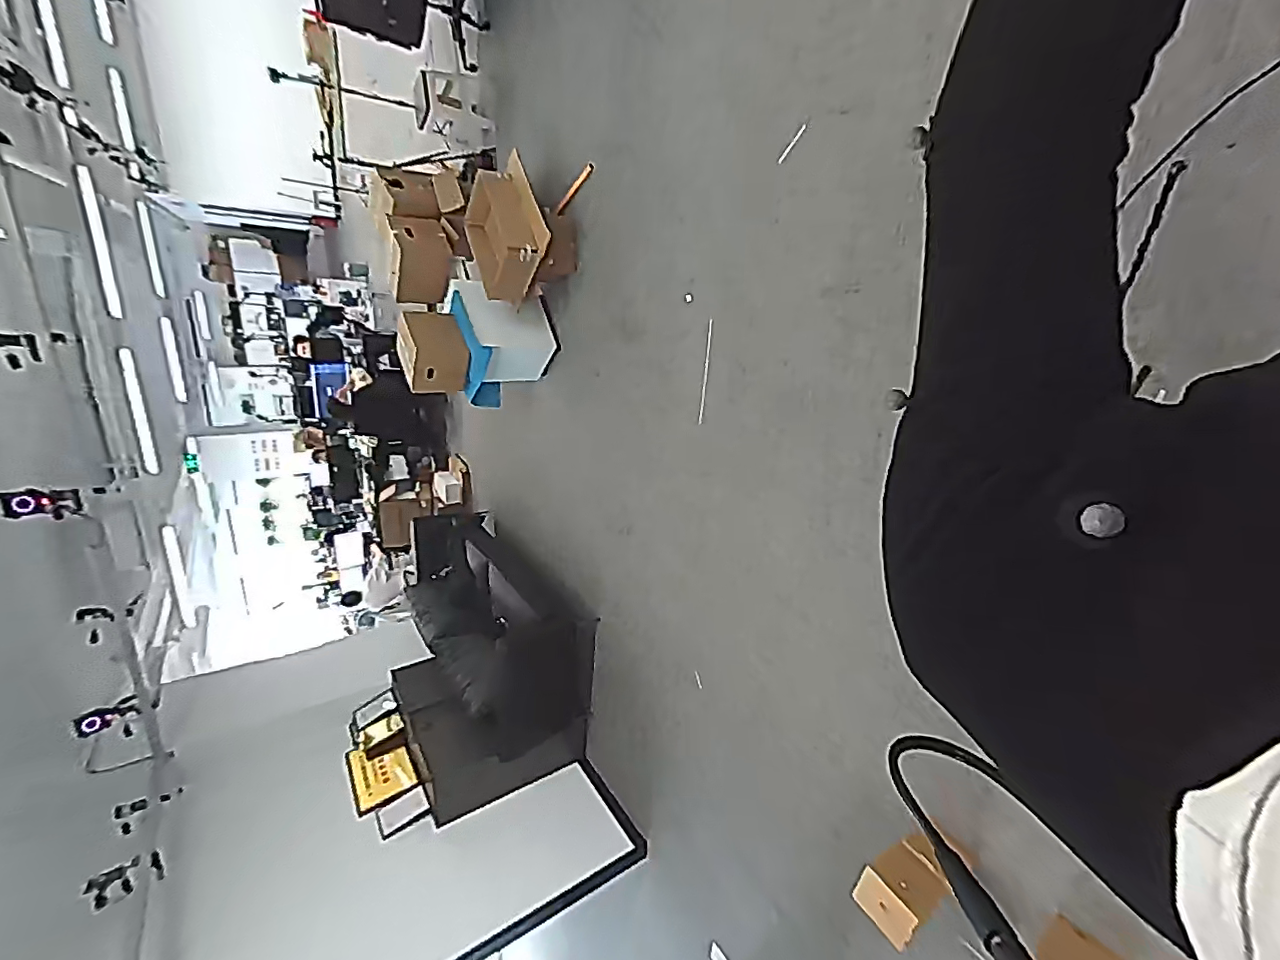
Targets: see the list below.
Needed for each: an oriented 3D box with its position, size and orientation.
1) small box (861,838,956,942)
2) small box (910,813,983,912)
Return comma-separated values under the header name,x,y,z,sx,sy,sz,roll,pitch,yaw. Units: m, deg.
name,x,y,z,sx,sy,sz,roll,pitch,yaw
small box,0.829,1.255,1.673,0.179,0.176,0.168,37,128,46
small box,0.970,1.230,1.751,0.168,0.176,0.179,40,129,46
